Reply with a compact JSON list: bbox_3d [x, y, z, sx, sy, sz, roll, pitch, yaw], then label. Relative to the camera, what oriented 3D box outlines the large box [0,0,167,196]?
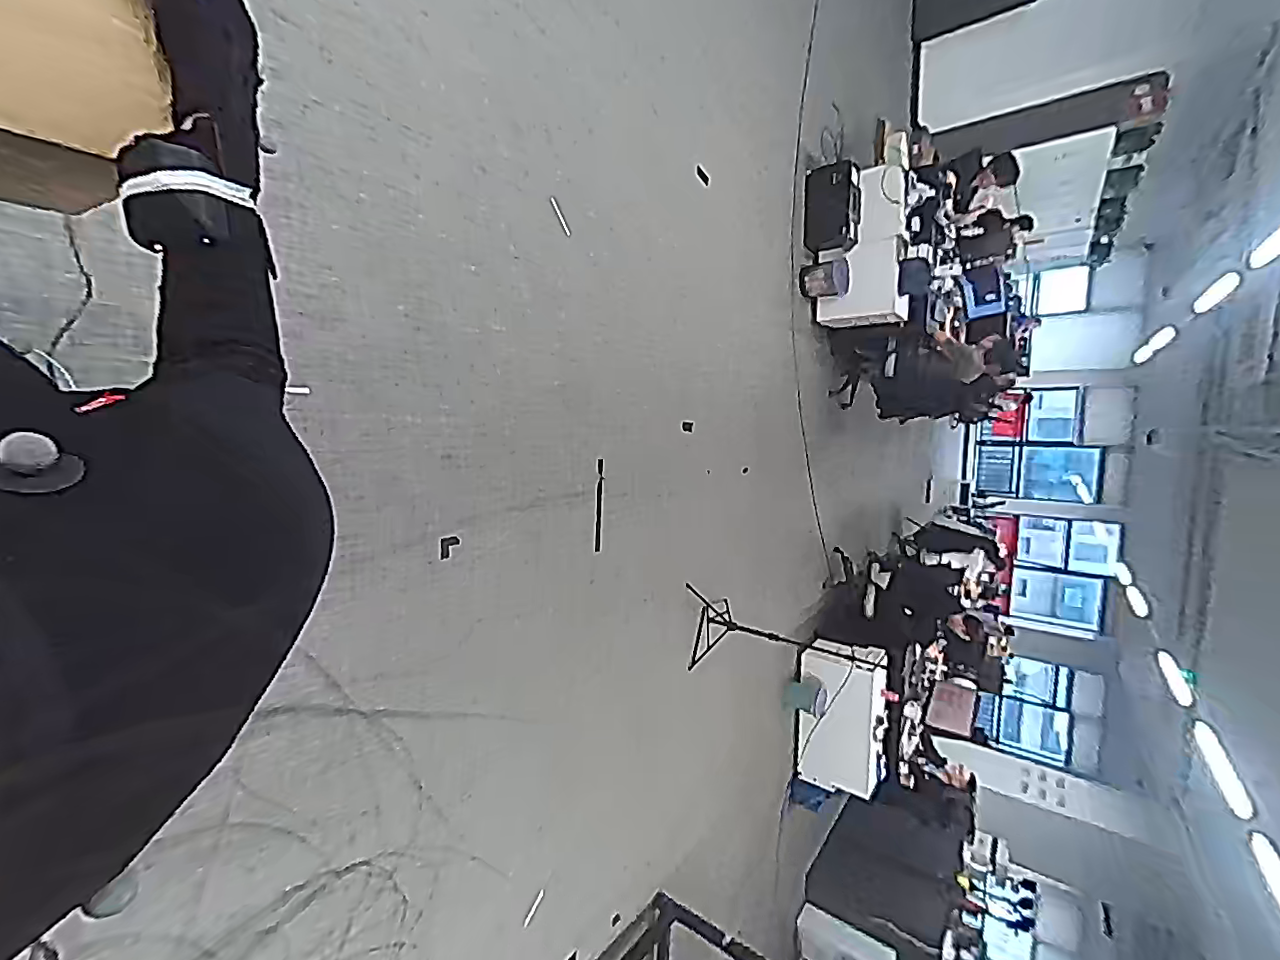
[{"bbox_3d":[-0.582,-0.394,0.300,0.408,0.320,0.320,-11,111,-55],"label":"large box"}]
